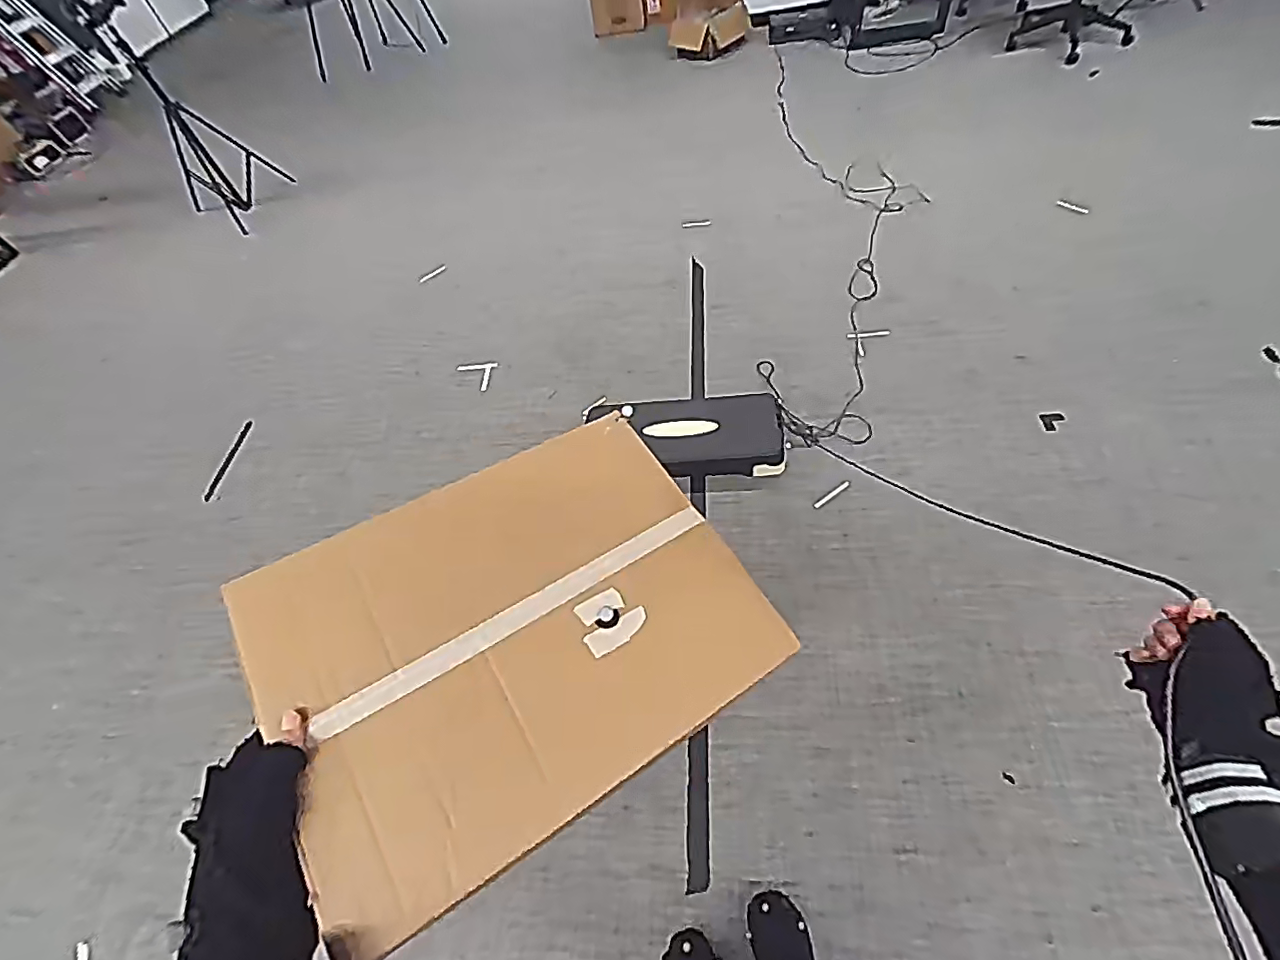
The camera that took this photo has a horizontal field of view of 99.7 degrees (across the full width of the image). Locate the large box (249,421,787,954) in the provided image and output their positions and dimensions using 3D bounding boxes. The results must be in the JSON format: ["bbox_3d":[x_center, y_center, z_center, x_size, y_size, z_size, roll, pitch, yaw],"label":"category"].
[{"bbox_3d":[-0.119,0.207,0.615,0.408,0.320,0.320,-27,64,-21],"label":"large box"}]
